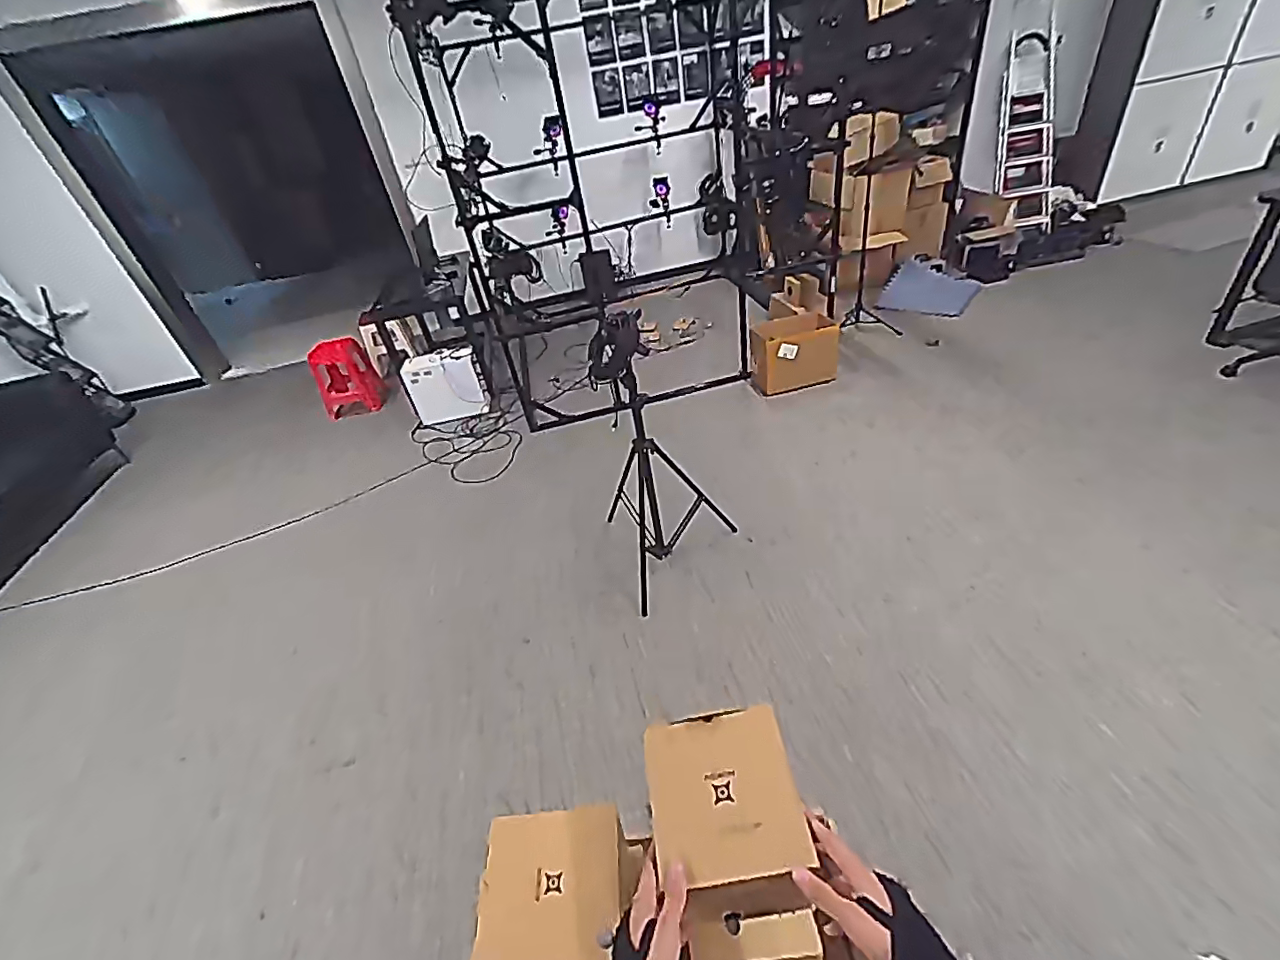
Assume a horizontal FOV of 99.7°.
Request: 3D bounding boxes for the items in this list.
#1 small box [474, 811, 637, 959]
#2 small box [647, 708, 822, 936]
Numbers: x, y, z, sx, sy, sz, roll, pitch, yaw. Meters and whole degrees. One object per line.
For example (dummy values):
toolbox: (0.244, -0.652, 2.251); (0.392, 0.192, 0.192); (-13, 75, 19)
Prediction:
small box: (-0.097, 0.565, 0.710); (0.179, 0.176, 0.168); (-8, 35, 2)
small box: (0.107, 0.411, 0.655); (0.168, 0.176, 0.179); (-11, 38, 2)
